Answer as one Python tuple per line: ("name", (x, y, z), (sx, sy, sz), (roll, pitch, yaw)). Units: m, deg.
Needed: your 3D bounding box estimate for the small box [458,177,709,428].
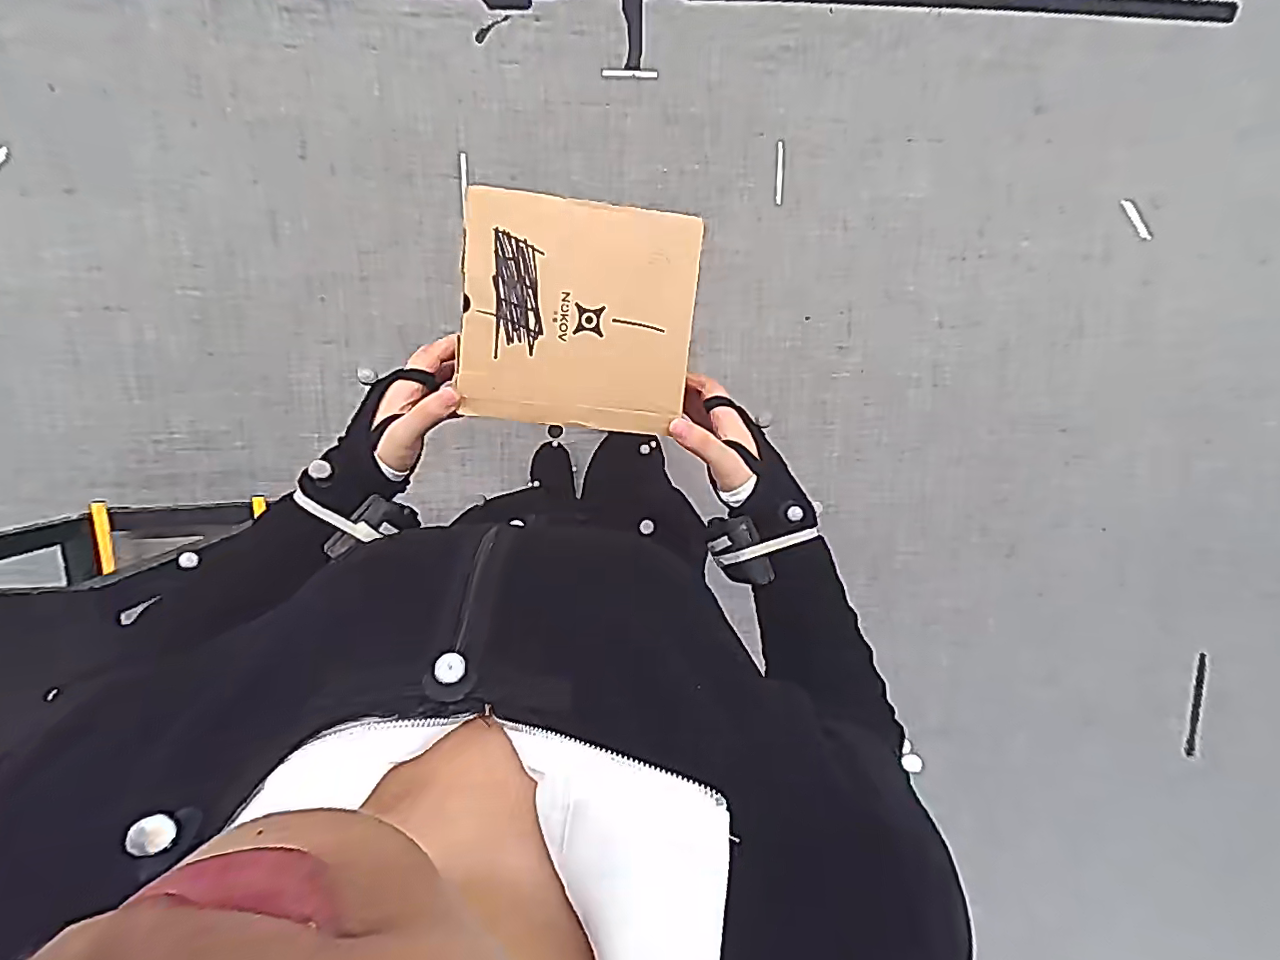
("small box", (-0.050, -0.141, 0.482), (0.179, 0.176, 0.168), (5, 100, -7))
